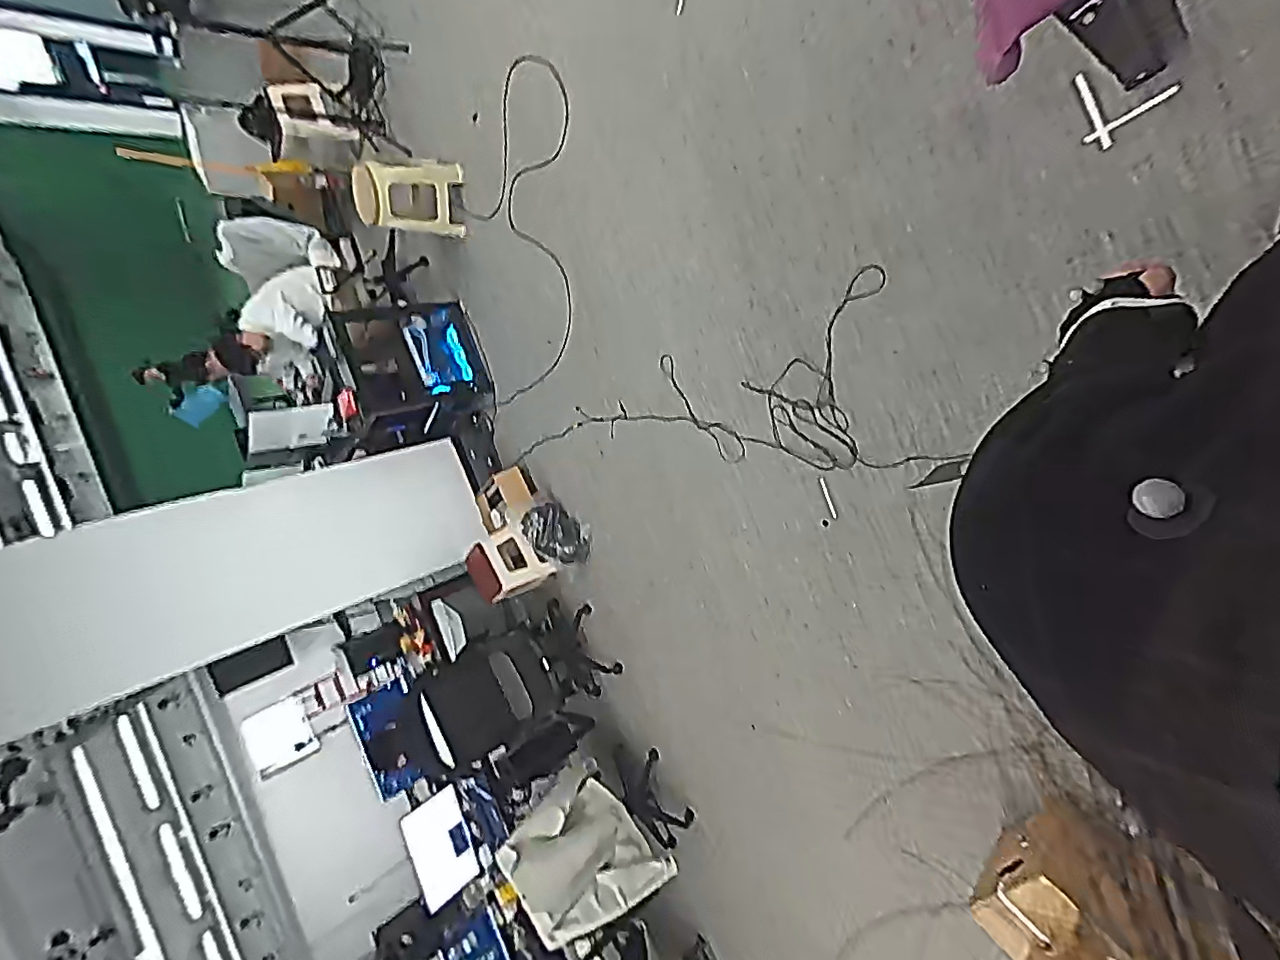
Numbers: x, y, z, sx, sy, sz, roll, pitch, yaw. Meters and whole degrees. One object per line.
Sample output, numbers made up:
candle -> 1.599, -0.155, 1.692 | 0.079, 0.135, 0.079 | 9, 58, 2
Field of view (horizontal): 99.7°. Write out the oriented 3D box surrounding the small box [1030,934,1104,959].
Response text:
small box -> 0.973, 1.163, 1.184 | 0.179, 0.176, 0.168 | 41, 132, 33
